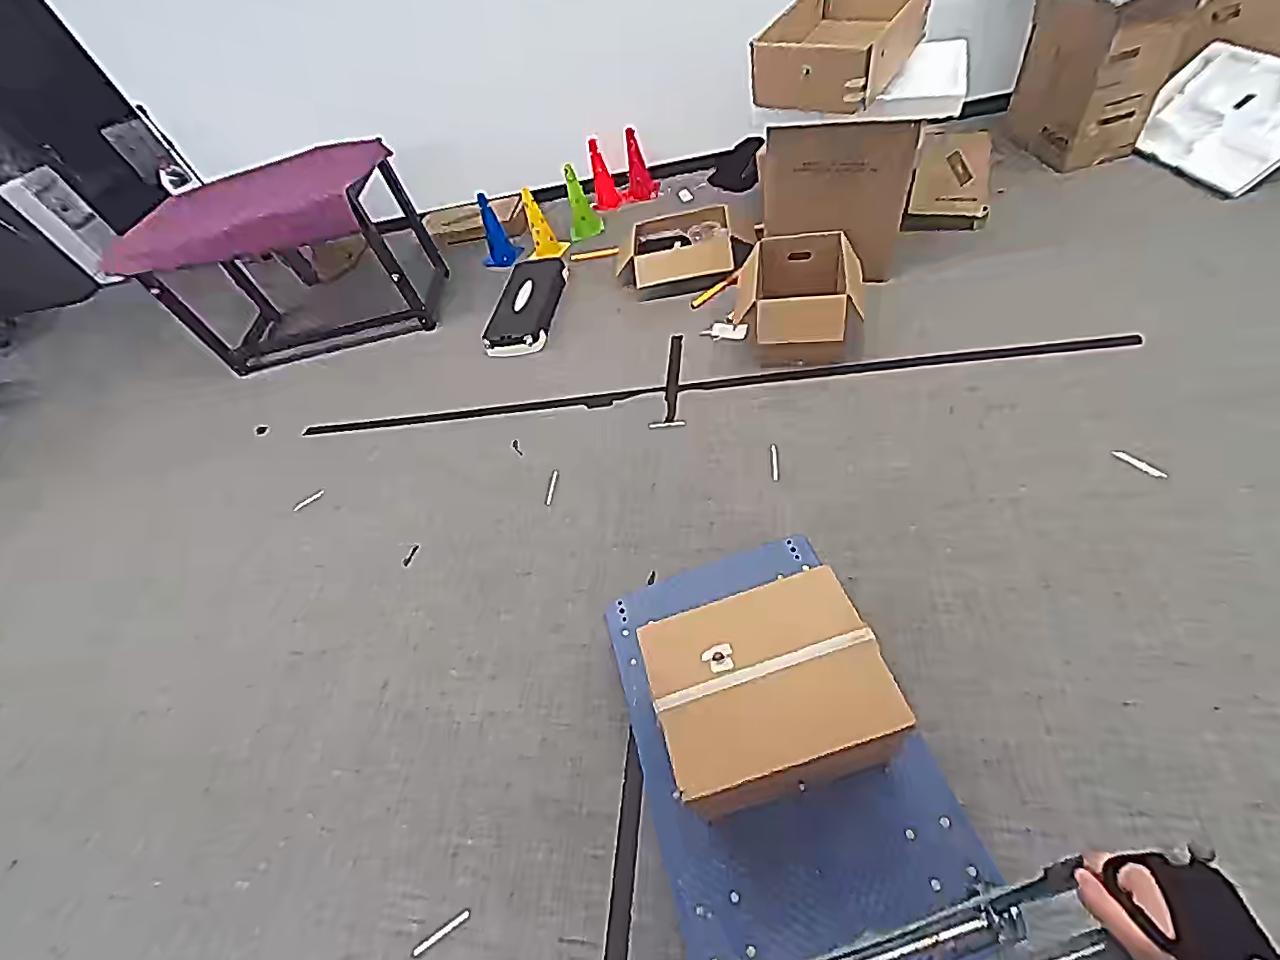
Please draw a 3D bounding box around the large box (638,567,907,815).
[{"bbox_3d":[0.253,0.436,1.100,0.408,0.320,0.320,-20,50,1],"label":"large box"}]
